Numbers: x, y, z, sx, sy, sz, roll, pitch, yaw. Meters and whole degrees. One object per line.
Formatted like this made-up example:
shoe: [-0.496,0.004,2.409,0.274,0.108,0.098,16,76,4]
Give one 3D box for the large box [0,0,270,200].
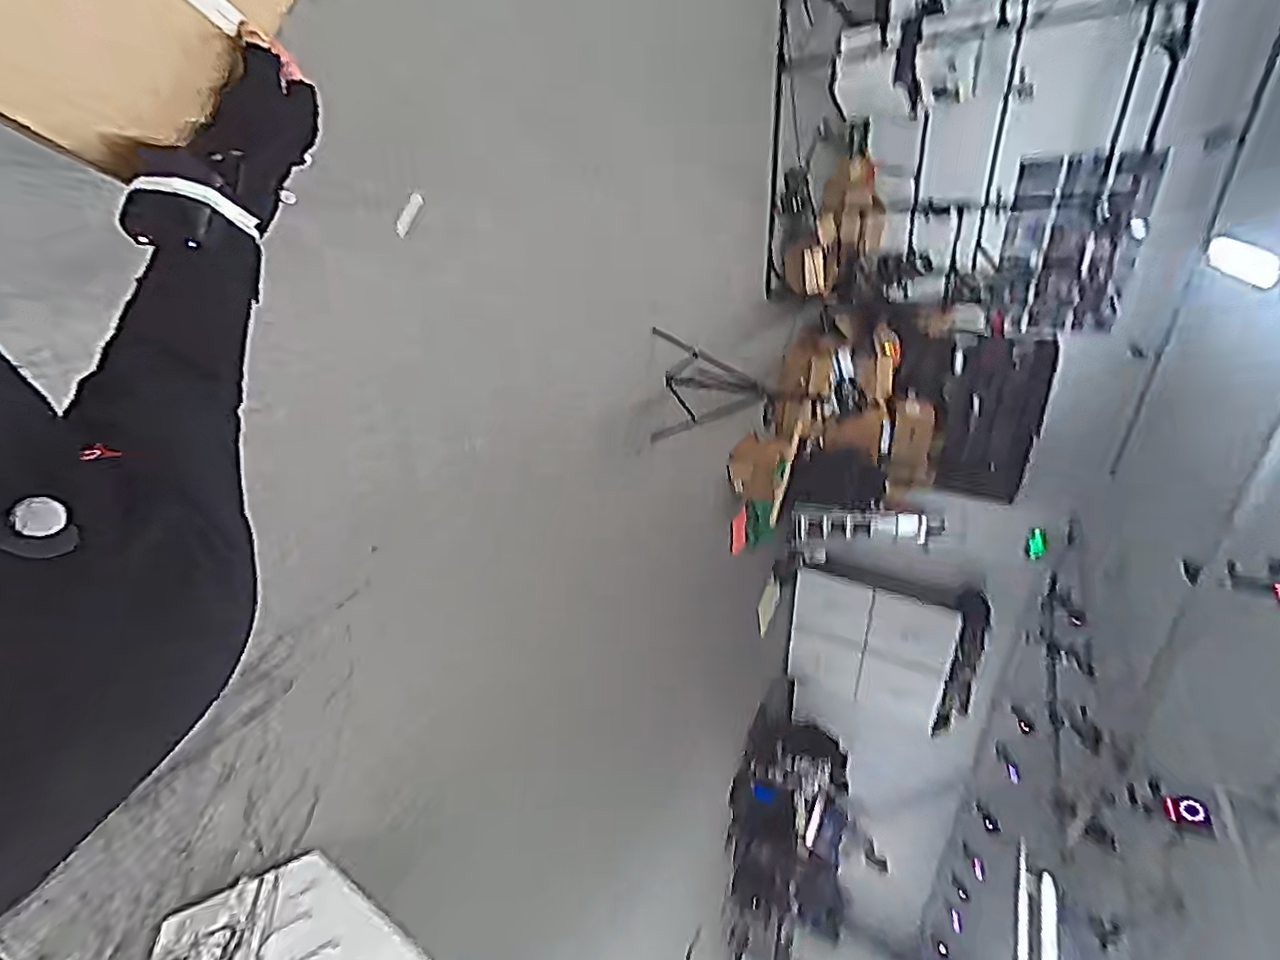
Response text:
large box: [-0.543,-0.475,0.360,0.320,0.320,0.408,-62,154,2]
